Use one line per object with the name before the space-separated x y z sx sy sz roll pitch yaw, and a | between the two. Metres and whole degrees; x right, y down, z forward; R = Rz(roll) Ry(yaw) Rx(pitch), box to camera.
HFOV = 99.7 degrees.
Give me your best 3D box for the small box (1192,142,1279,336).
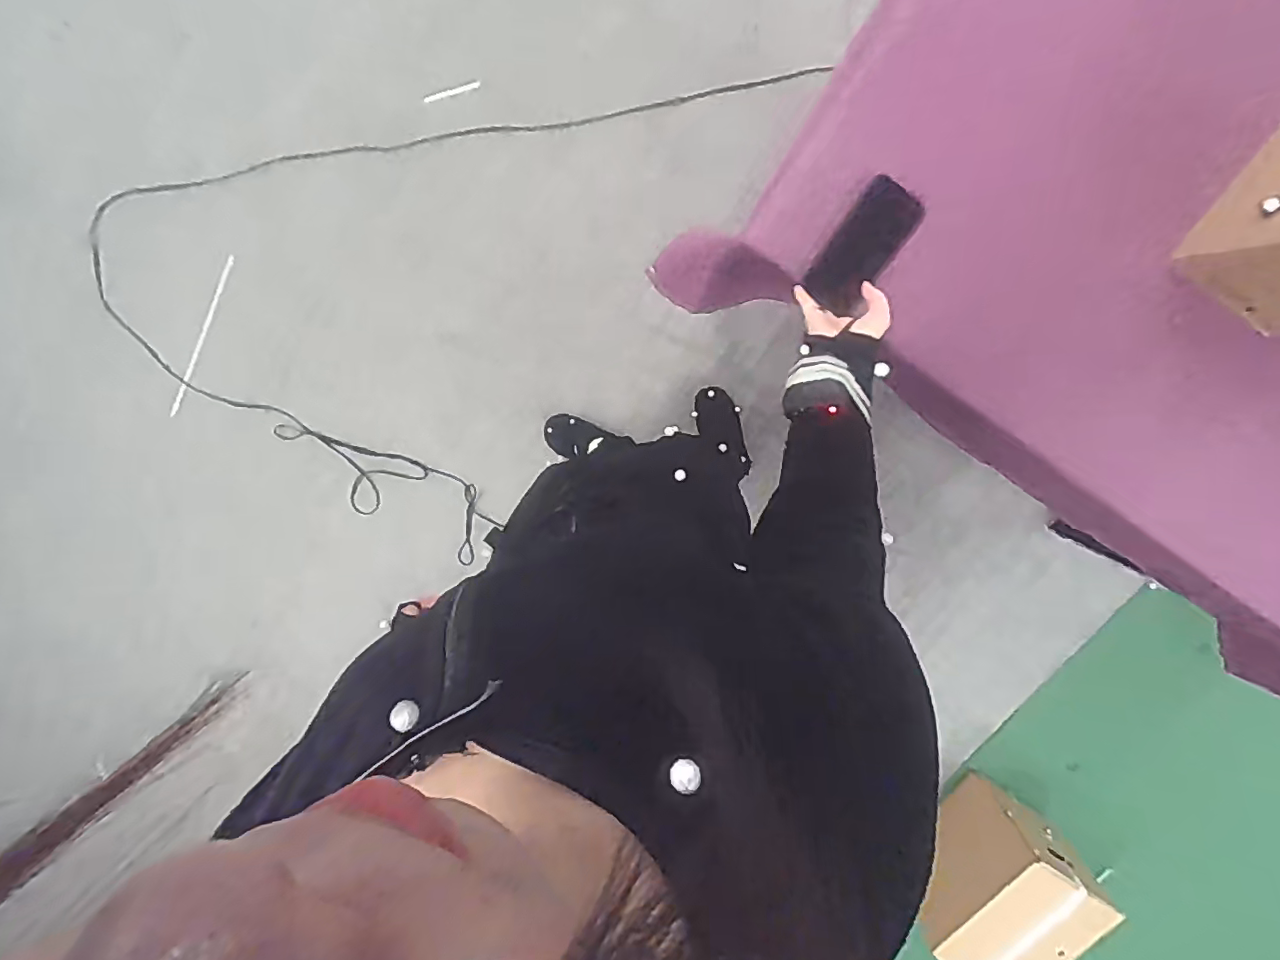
small box | 0.733 -0.258 0.544 0.168 0.176 0.179 32 103 -6
